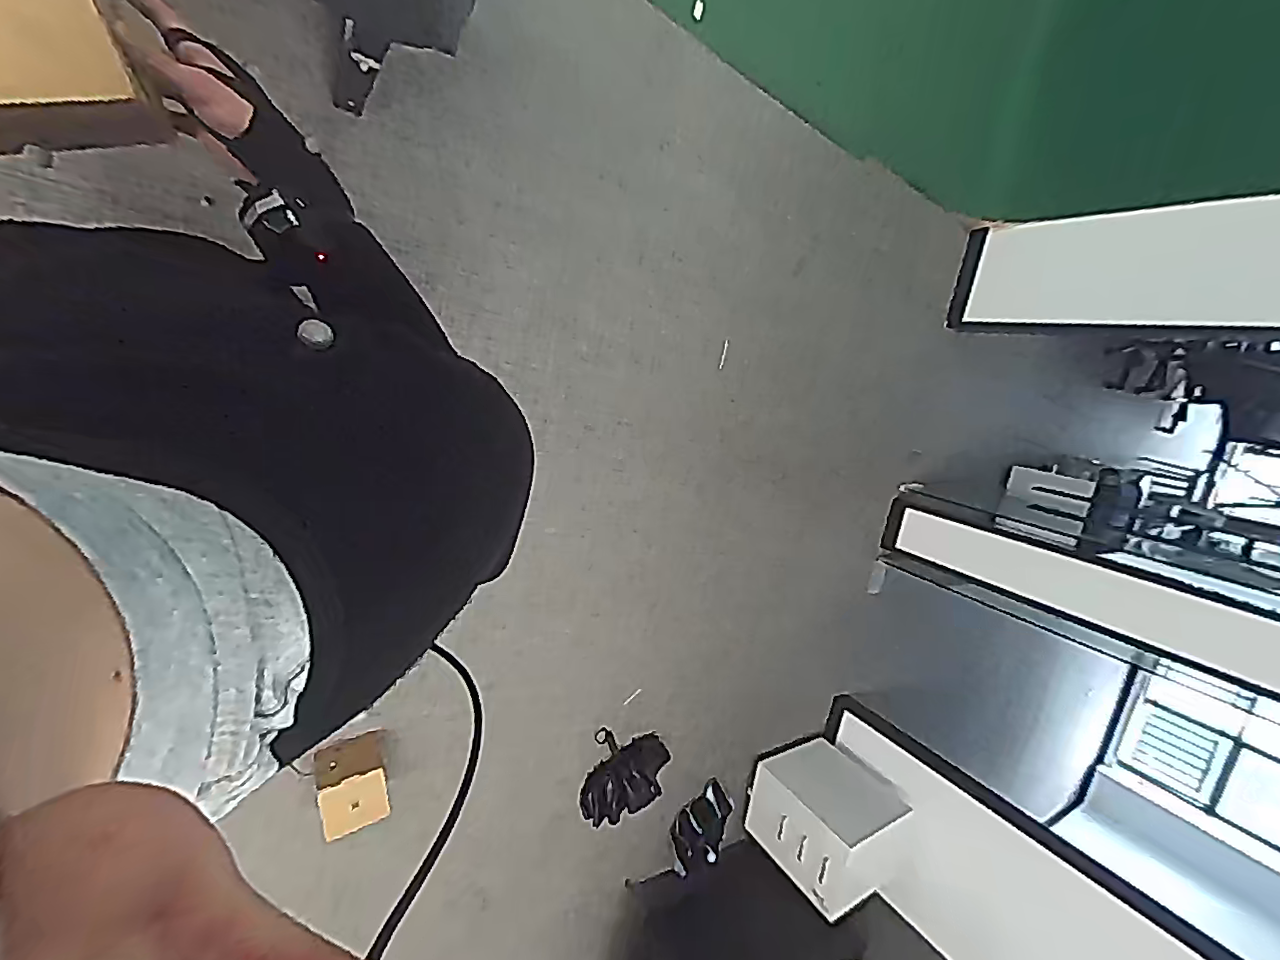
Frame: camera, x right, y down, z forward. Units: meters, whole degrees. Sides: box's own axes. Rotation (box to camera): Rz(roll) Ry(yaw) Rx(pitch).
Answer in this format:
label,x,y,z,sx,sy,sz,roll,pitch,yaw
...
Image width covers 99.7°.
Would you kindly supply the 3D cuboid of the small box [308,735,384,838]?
label,x,y,z,sx,sy,sz,roll,pitch,yaw
small box,-0.851,0.871,1.563,0.168,0.176,0.179,-10,112,-30
